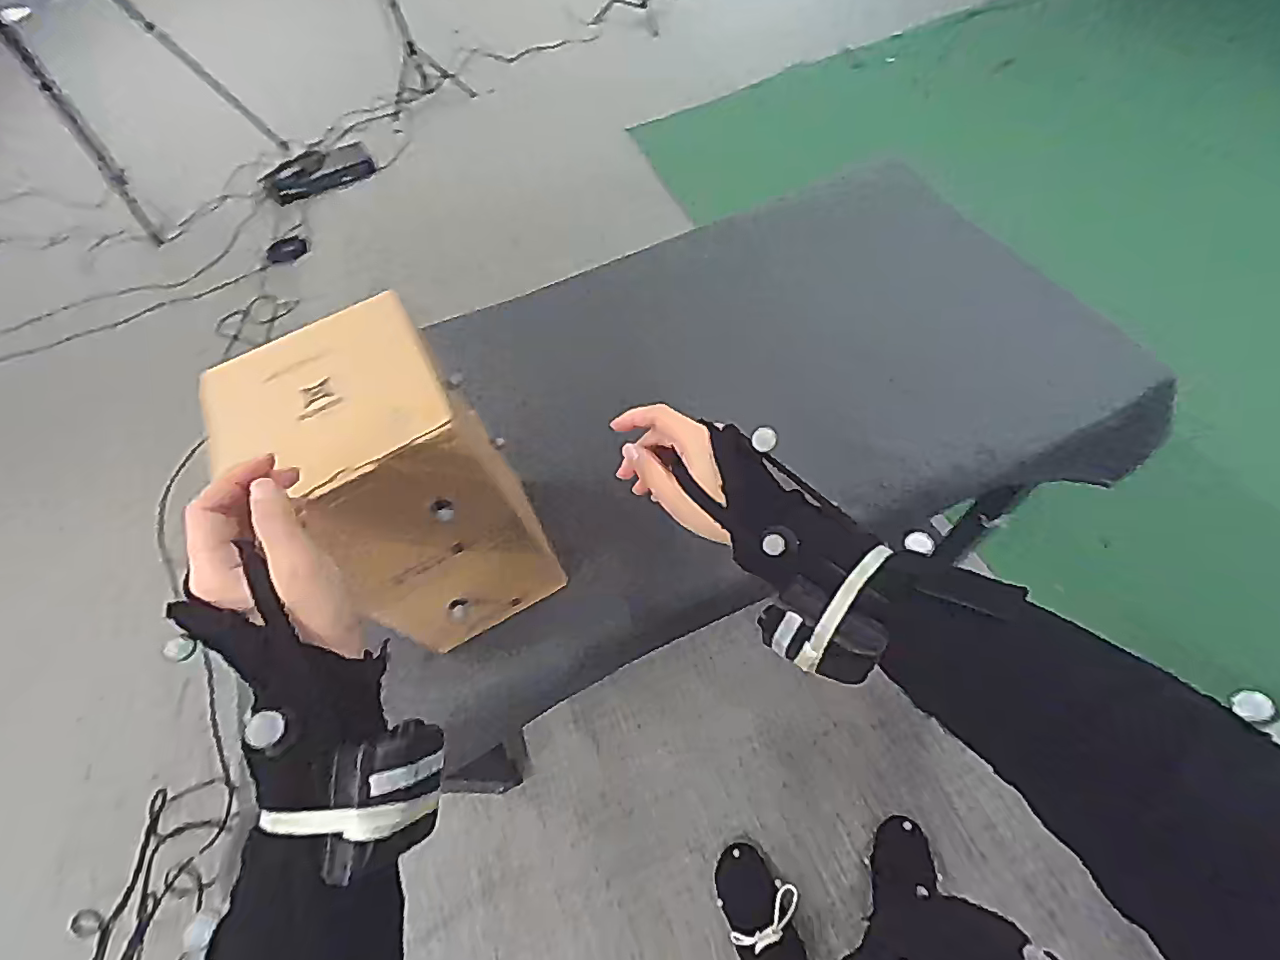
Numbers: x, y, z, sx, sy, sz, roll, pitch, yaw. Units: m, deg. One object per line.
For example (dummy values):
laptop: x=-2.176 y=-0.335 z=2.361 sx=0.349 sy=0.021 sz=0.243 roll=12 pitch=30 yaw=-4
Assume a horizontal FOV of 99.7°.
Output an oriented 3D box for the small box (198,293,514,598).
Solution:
small box: x=-0.231 y=-0.019 z=0.469 sx=0.168 sy=0.176 sz=0.179 roll=-28 pitch=58 yaw=-11

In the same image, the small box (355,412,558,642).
small box: x=-0.211 y=0.063 z=0.608 sx=0.168 sy=0.176 sz=0.179 roll=-28 pitch=59 yaw=-9
